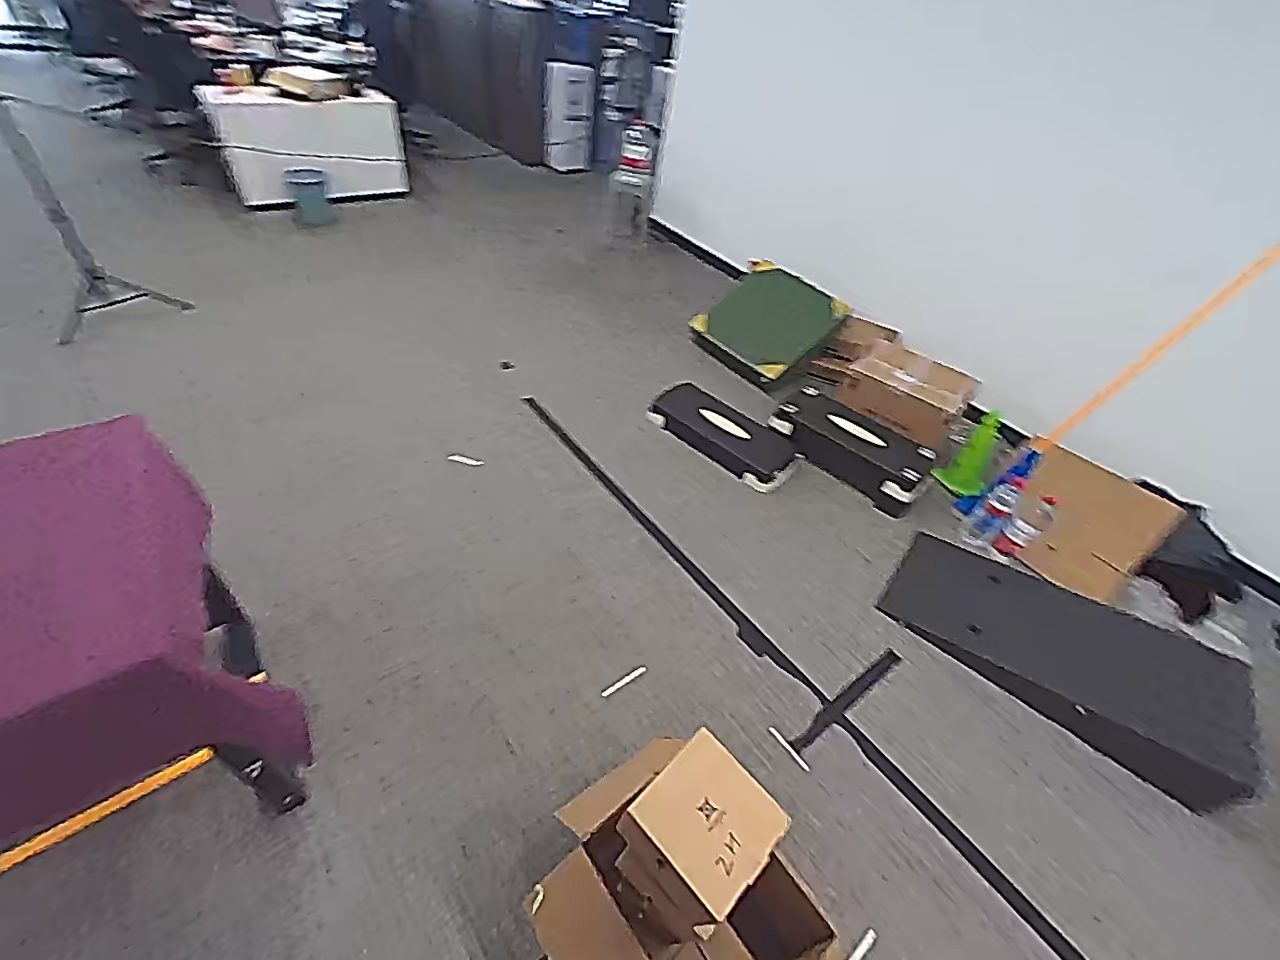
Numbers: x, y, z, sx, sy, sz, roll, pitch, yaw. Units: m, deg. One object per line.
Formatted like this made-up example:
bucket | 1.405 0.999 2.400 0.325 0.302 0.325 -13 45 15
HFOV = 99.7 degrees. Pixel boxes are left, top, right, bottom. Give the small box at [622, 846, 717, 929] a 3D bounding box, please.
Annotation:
small box | 0.081 0.743 1.062 0.179 0.176 0.168 30 51 15

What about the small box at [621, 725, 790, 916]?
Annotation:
small box | 0.088 0.518 0.819 0.168 0.176 0.179 -33 62 -31
